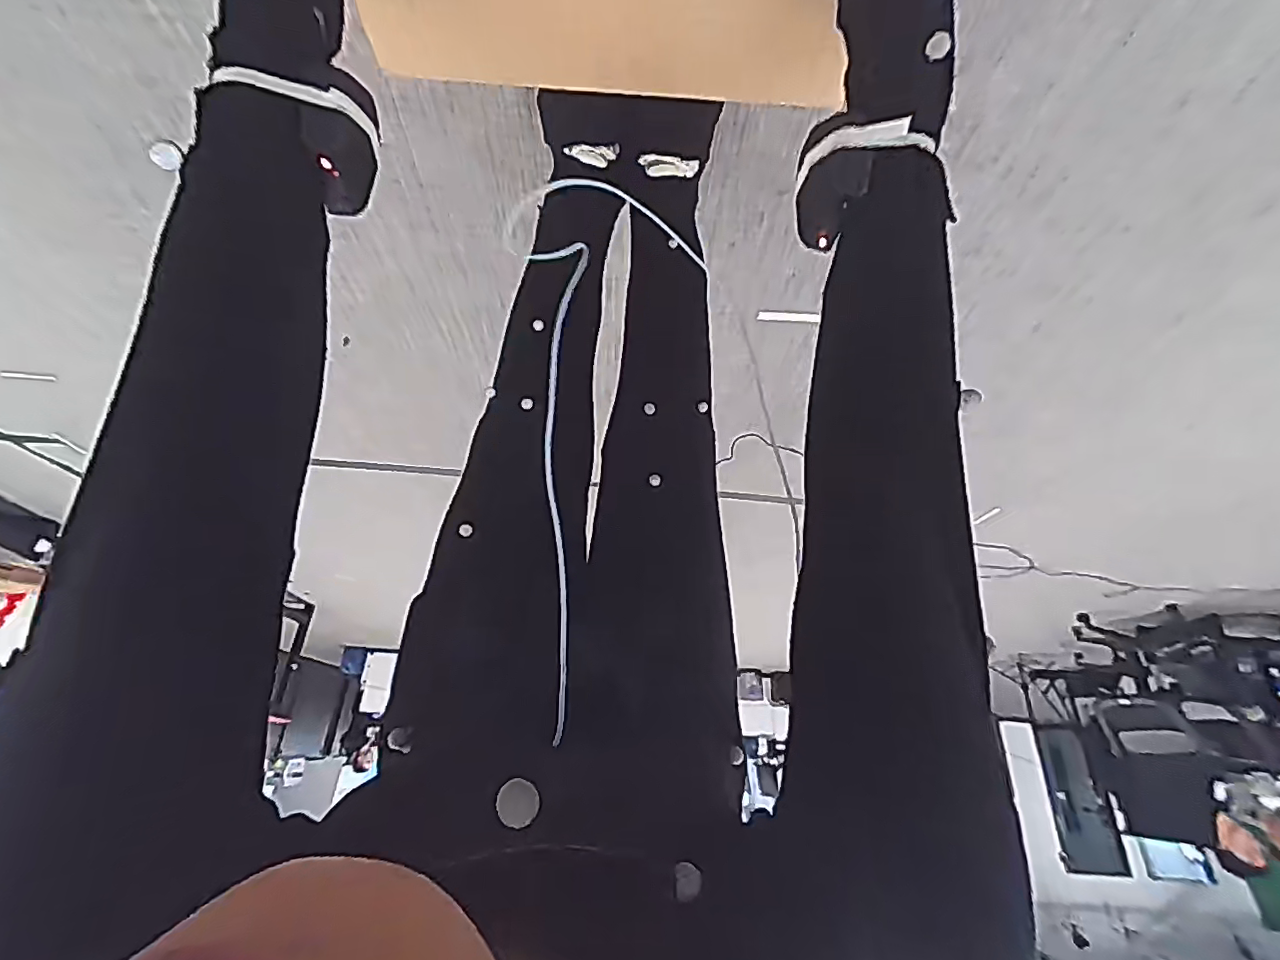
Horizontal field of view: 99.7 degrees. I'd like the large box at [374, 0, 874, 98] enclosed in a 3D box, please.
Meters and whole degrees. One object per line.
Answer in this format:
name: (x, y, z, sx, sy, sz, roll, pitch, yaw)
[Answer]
large box: (-0.008, -0.551, 0.413, 0.408, 0.320, 0.320, 3, 155, 0)
